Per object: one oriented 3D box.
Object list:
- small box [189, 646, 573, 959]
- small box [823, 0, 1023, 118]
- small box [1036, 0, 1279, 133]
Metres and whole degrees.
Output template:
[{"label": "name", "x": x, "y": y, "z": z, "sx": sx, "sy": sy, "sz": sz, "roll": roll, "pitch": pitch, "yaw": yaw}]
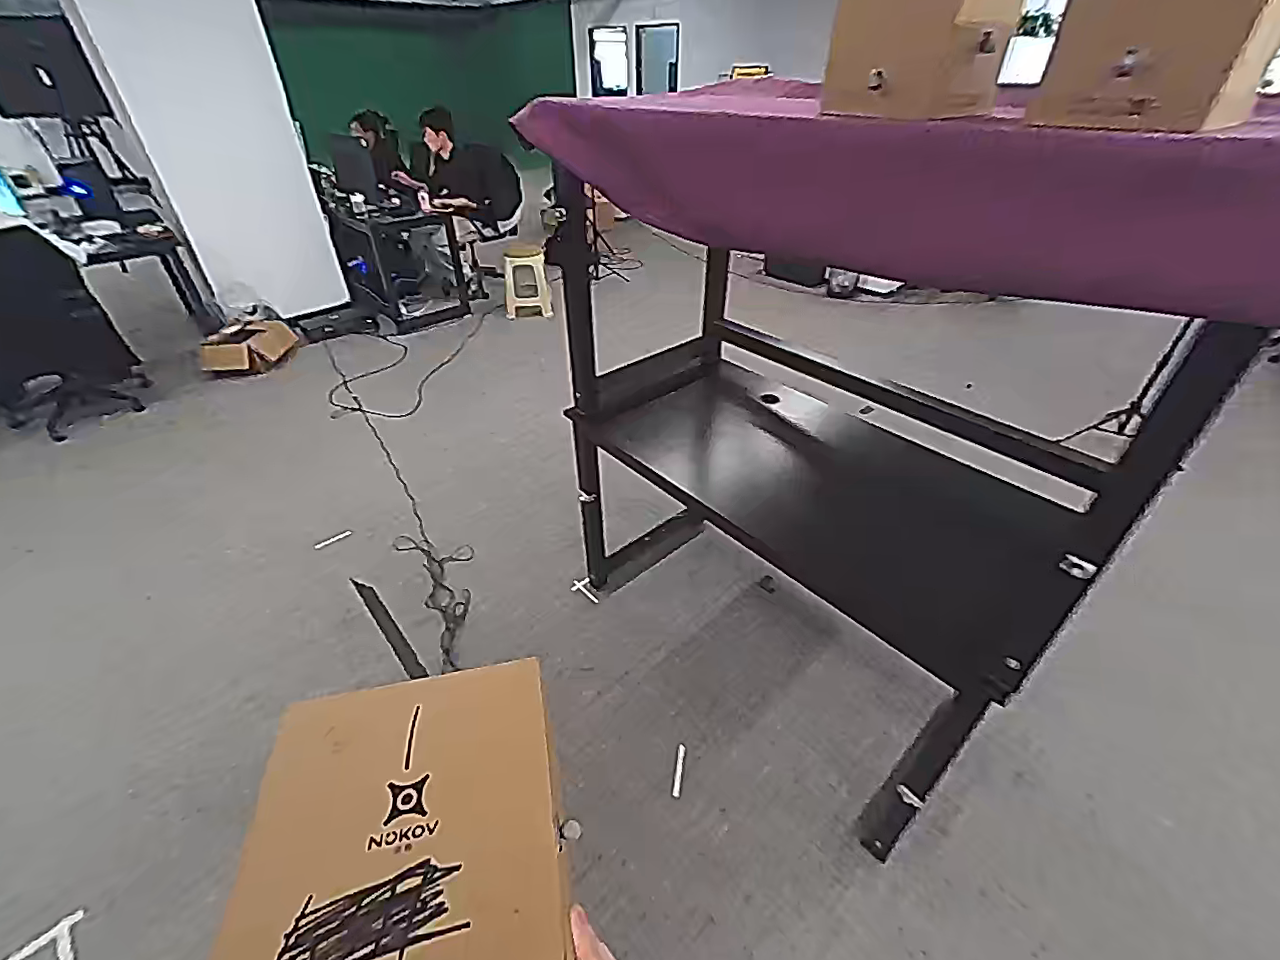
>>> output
[{"label": "small box", "x": -0.138, "y": 0.242, "z": 0.350, "sx": 0.168, "sy": 0.176, "sz": 0.179, "roll": -8, "pitch": 39, "yaw": -11}, {"label": "small box", "x": 0.376, "y": -0.586, "z": 0.719, "sx": 0.168, "sy": 0.176, "sz": 0.179, "roll": -25, "pitch": 44, "yaw": -30}, {"label": "small box", "x": 0.557, "y": -0.468, "z": 0.558, "sx": 0.179, "sy": 0.176, "sz": 0.168, "roll": -25, "pitch": 43, "yaw": -30}]
